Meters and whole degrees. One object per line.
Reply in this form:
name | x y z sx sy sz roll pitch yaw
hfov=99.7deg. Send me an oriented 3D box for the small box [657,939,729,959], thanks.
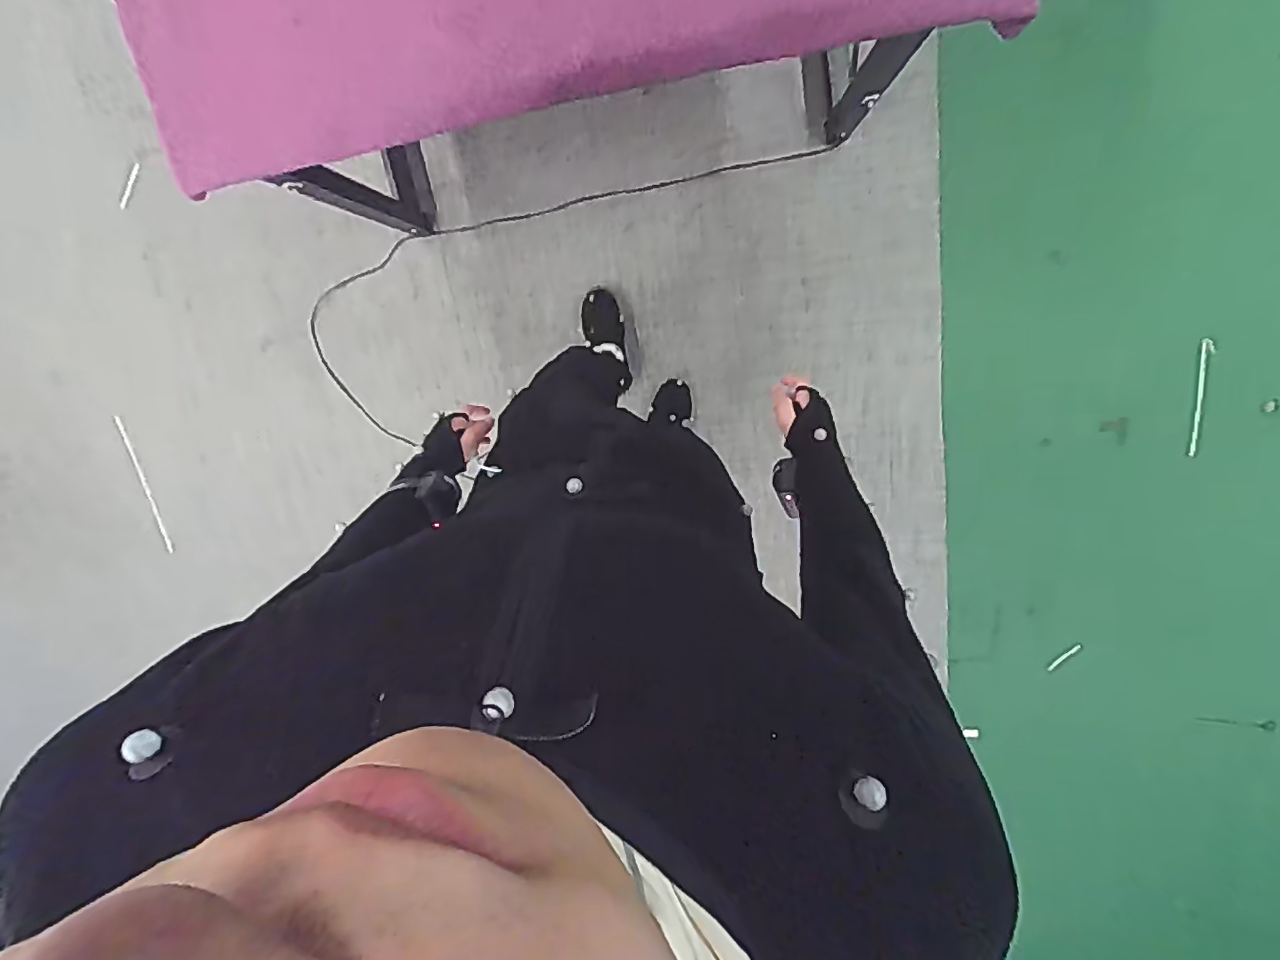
small box | 0.129 1.207 1.250 0.168 0.176 0.179 -8 104 7
